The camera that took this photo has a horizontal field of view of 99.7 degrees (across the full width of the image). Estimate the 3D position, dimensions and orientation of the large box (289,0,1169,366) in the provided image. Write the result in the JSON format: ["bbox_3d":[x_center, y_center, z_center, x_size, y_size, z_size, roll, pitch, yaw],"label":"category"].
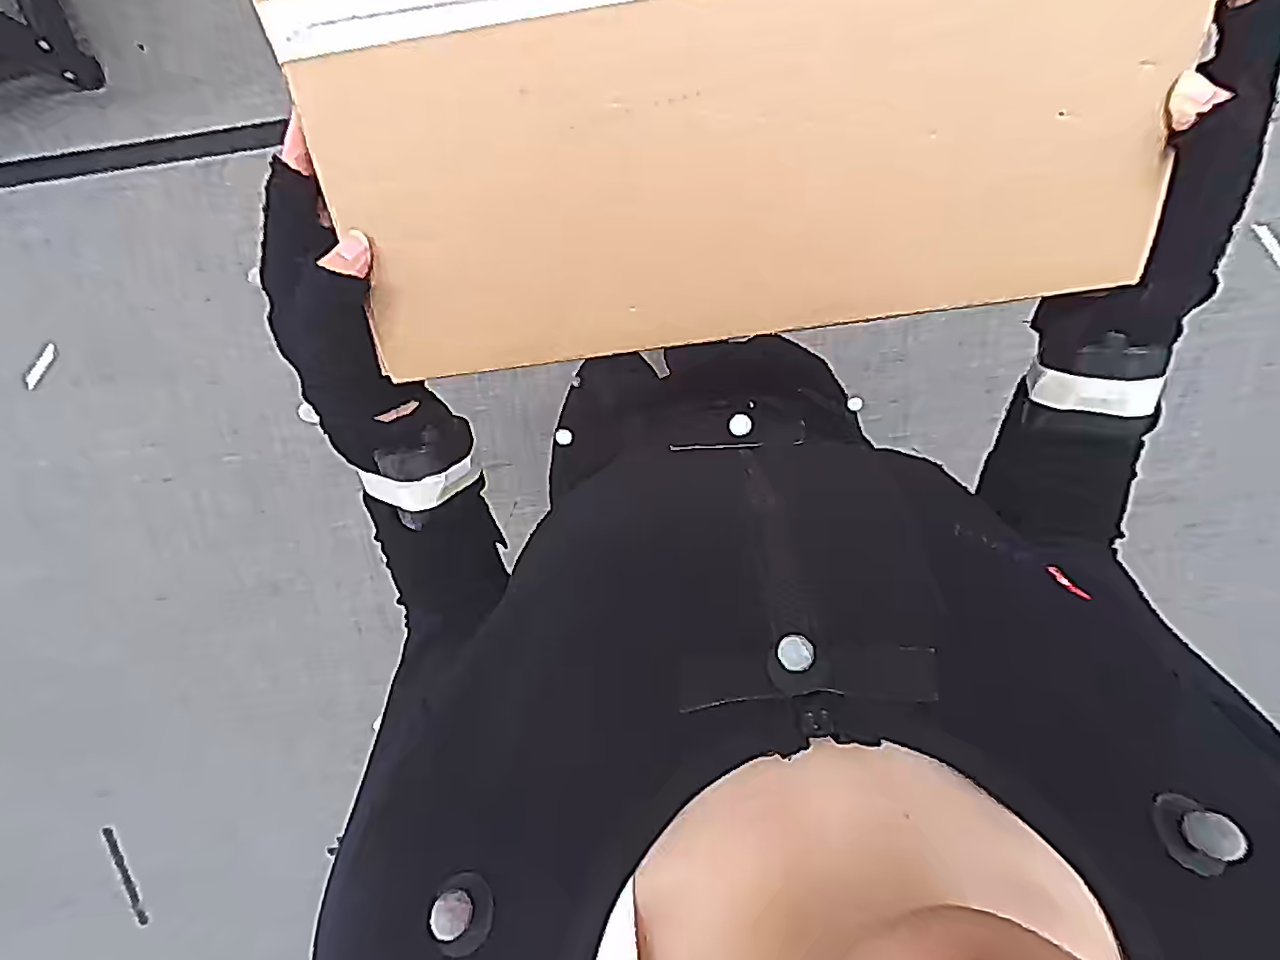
[{"bbox_3d":[0.035,-0.290,0.375,0.408,0.320,0.320,-7,115,3],"label":"large box"}]
